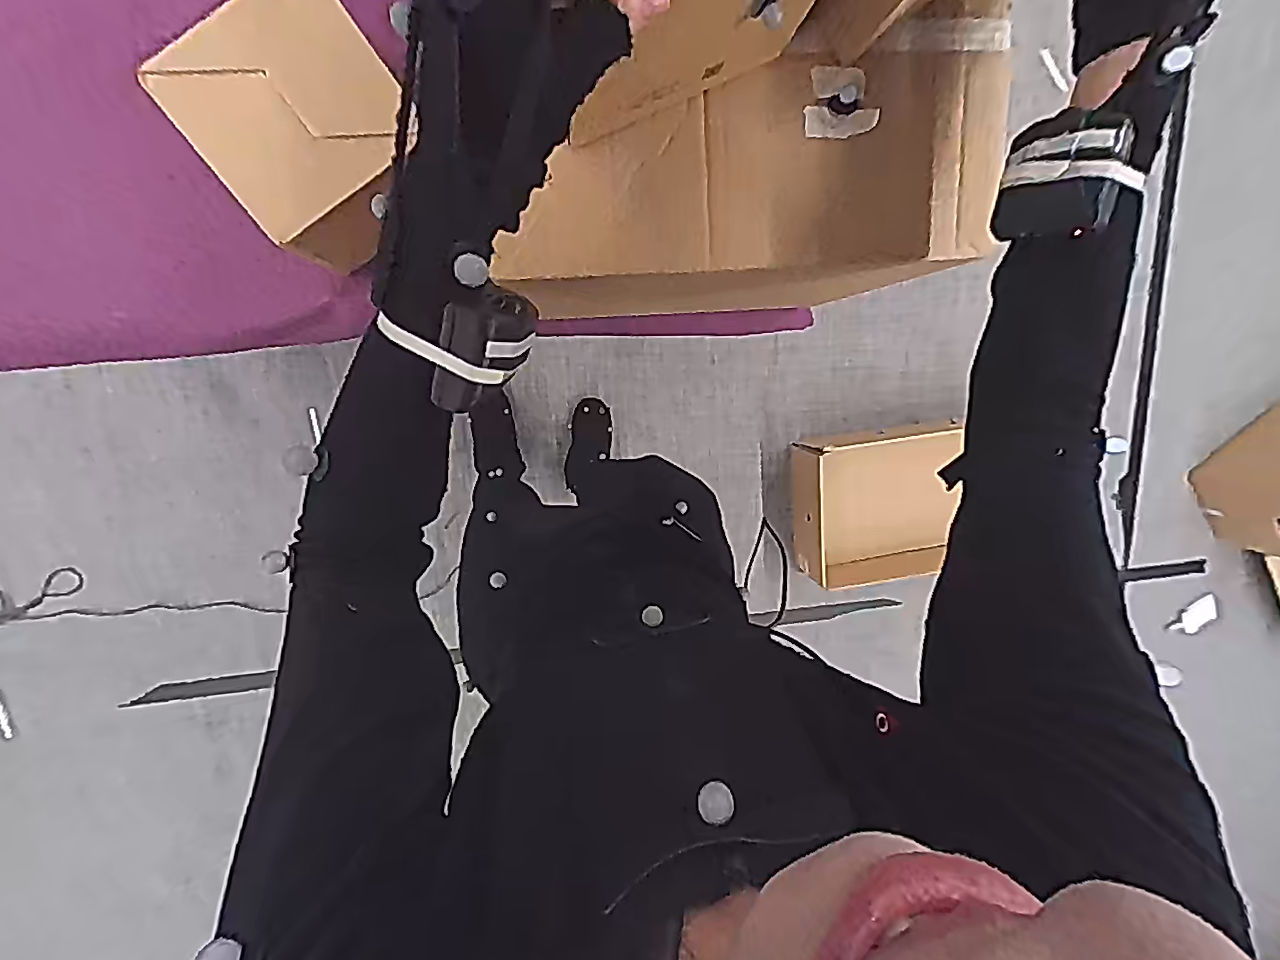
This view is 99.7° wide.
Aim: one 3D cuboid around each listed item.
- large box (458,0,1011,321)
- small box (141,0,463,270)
[{"bbox_3d":[0.057,-0.342,0.525,0.408,0.320,0.320,-5,102,-7],"label":"large box"},{"bbox_3d":[-0.310,-0.340,0.536,0.179,0.176,0.168,-35,103,1],"label":"small box"}]
